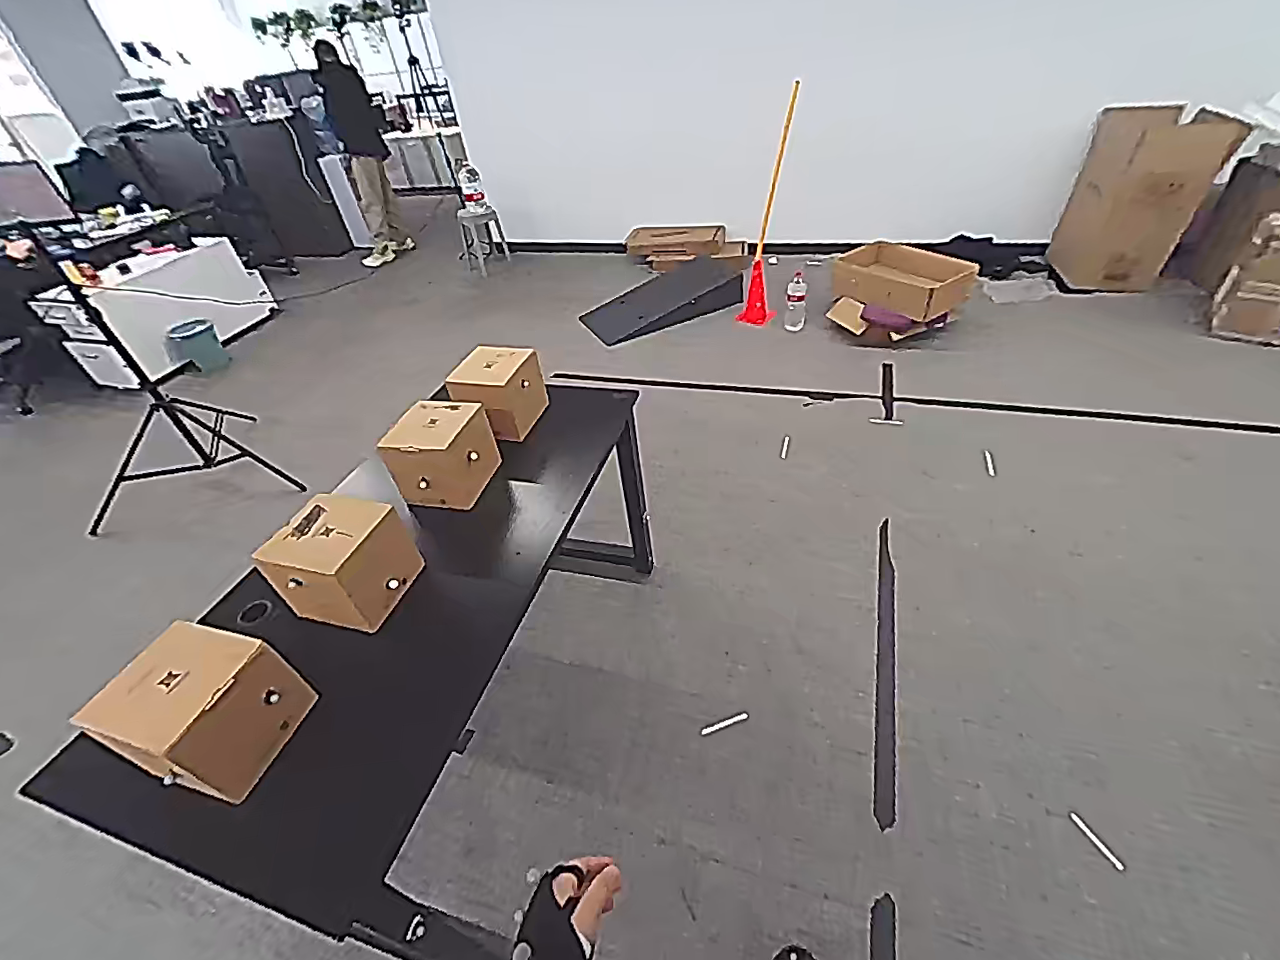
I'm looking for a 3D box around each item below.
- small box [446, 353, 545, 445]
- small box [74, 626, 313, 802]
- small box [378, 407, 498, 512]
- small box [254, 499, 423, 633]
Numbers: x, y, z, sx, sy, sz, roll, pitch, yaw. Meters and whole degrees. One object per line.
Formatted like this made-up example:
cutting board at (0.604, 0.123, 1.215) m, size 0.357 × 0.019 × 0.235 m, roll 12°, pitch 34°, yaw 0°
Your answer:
small box at (-0.360, -0.208, 1.391) m, size 0.168 × 0.176 × 0.179 m, roll 7°, pitch 43°, yaw 16°
small box at (-0.632, 0.344, 0.794) m, size 0.179 × 0.176 × 0.168 m, roll 5°, pitch 41°, yaw 16°
small box at (-0.440, -0.045, 1.217) m, size 0.168 × 0.176 × 0.179 m, roll 4°, pitch 43°, yaw 13°
small box at (-0.540, 0.159, 0.994) m, size 0.179 × 0.176 × 0.168 m, roll 7°, pitch 43°, yaw 16°
